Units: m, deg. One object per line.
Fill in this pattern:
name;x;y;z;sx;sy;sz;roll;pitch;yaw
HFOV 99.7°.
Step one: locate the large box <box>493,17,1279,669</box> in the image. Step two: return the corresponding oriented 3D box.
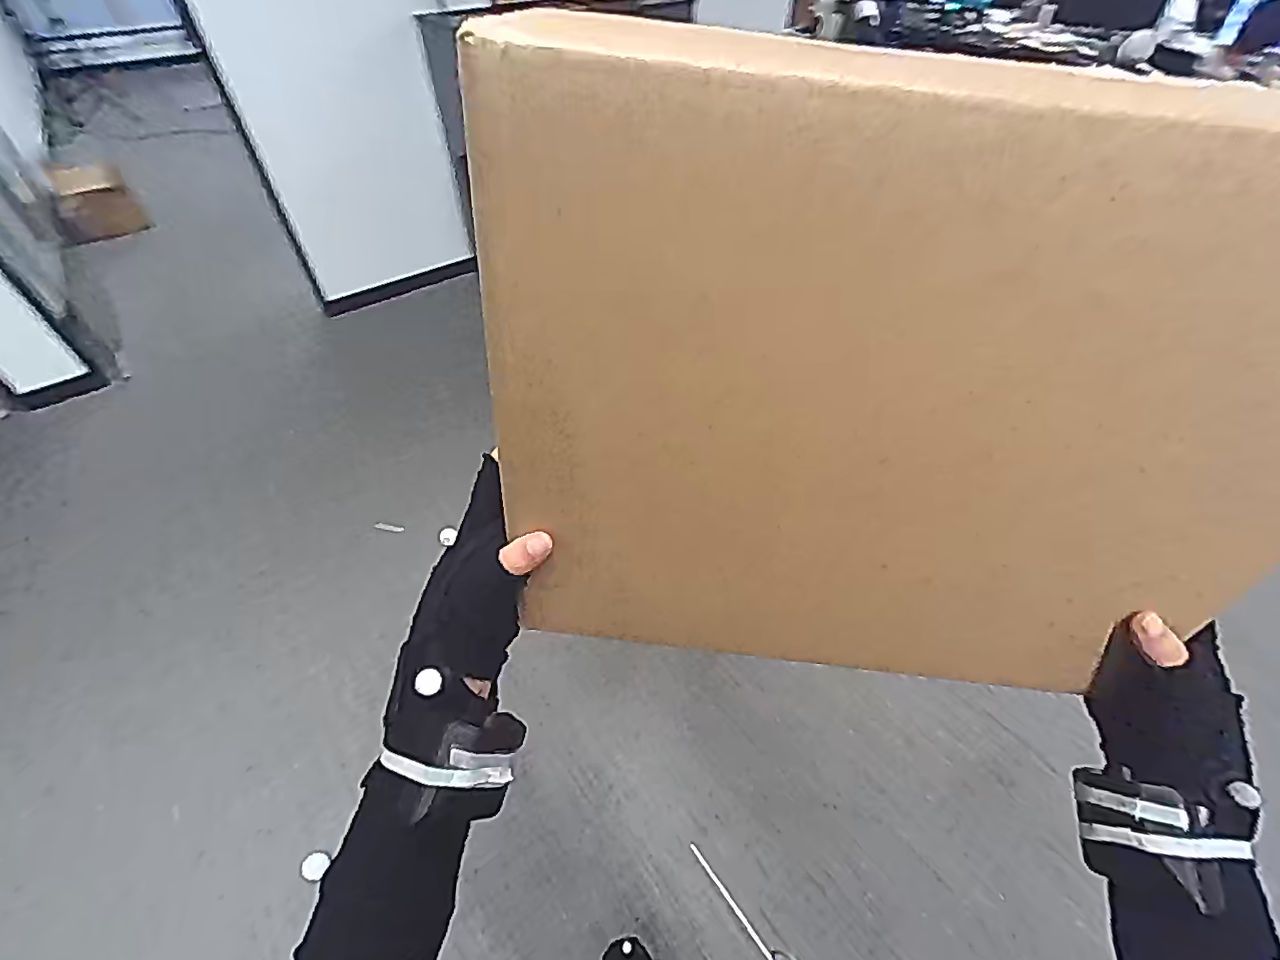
large box;0.136;-0.096;0.385;0.408;0.320;0.320;7;40;-2
